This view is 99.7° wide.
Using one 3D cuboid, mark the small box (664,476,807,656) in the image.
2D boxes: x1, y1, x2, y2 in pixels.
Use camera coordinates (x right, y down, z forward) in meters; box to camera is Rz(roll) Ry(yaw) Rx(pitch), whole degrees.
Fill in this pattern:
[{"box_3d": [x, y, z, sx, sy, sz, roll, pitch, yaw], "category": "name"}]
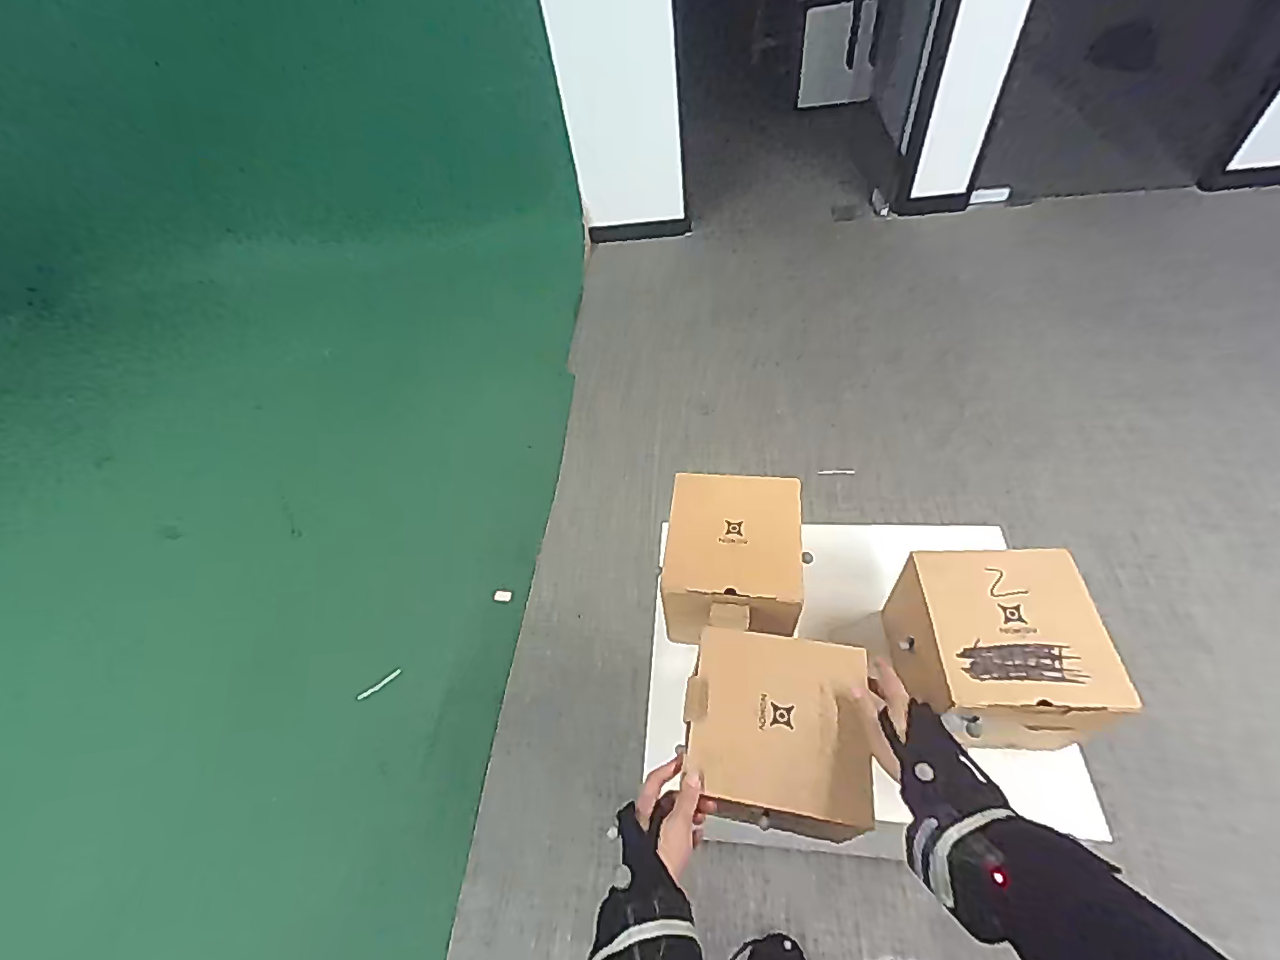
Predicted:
[{"box_3d": [0.127, 0.117, 0.731, 0.168, 0.176, 0.179, 3, 54, 10], "category": "small box"}]
